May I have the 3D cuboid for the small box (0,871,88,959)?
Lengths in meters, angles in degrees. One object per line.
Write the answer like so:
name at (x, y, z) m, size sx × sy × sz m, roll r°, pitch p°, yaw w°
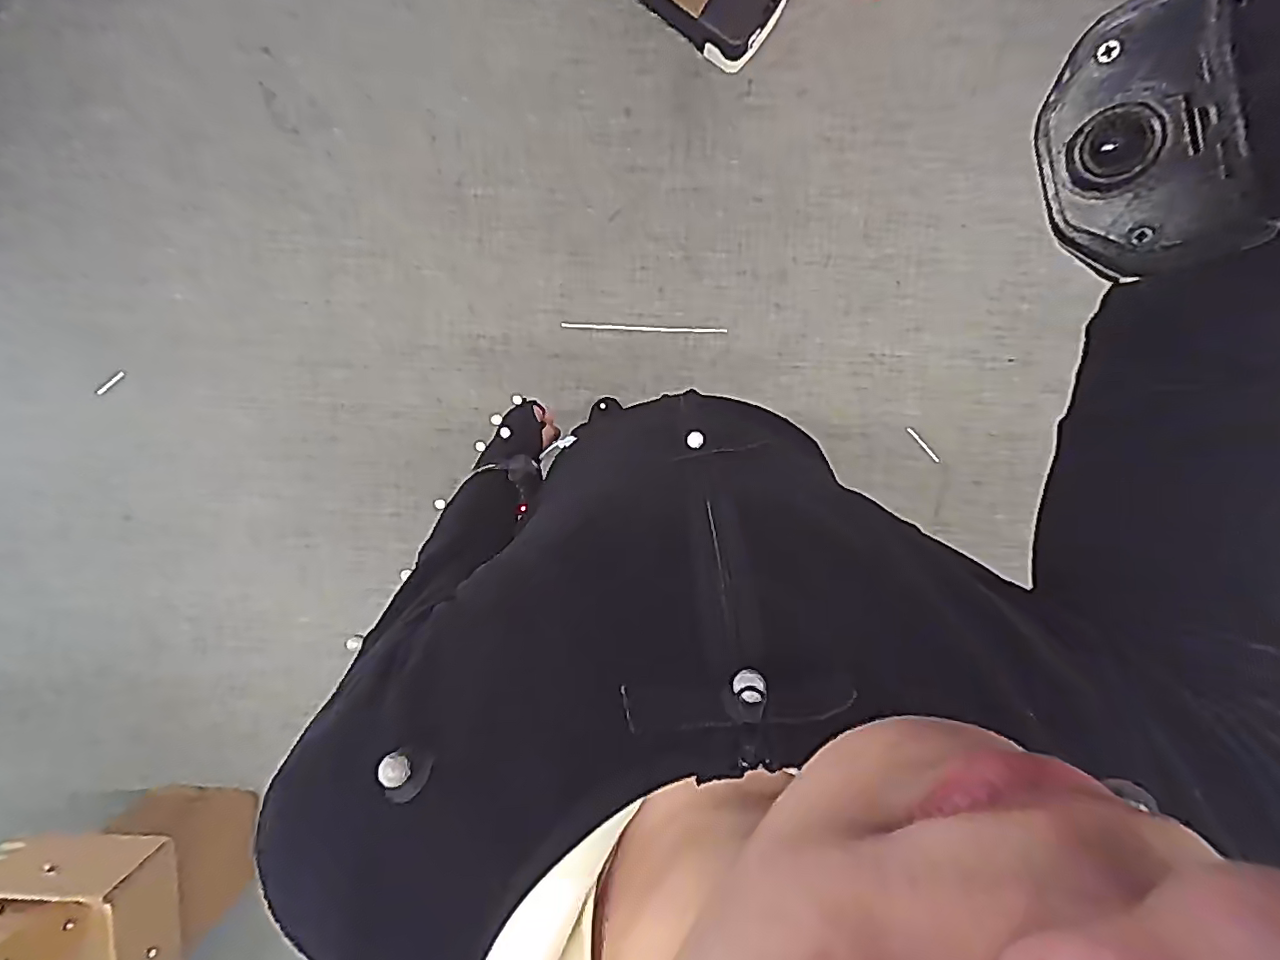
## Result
small box at (-1.435, 1.034, 1.236) m, size 0.179 × 0.176 × 0.168 m, roll 4°, pitch 95°, yaw -2°
